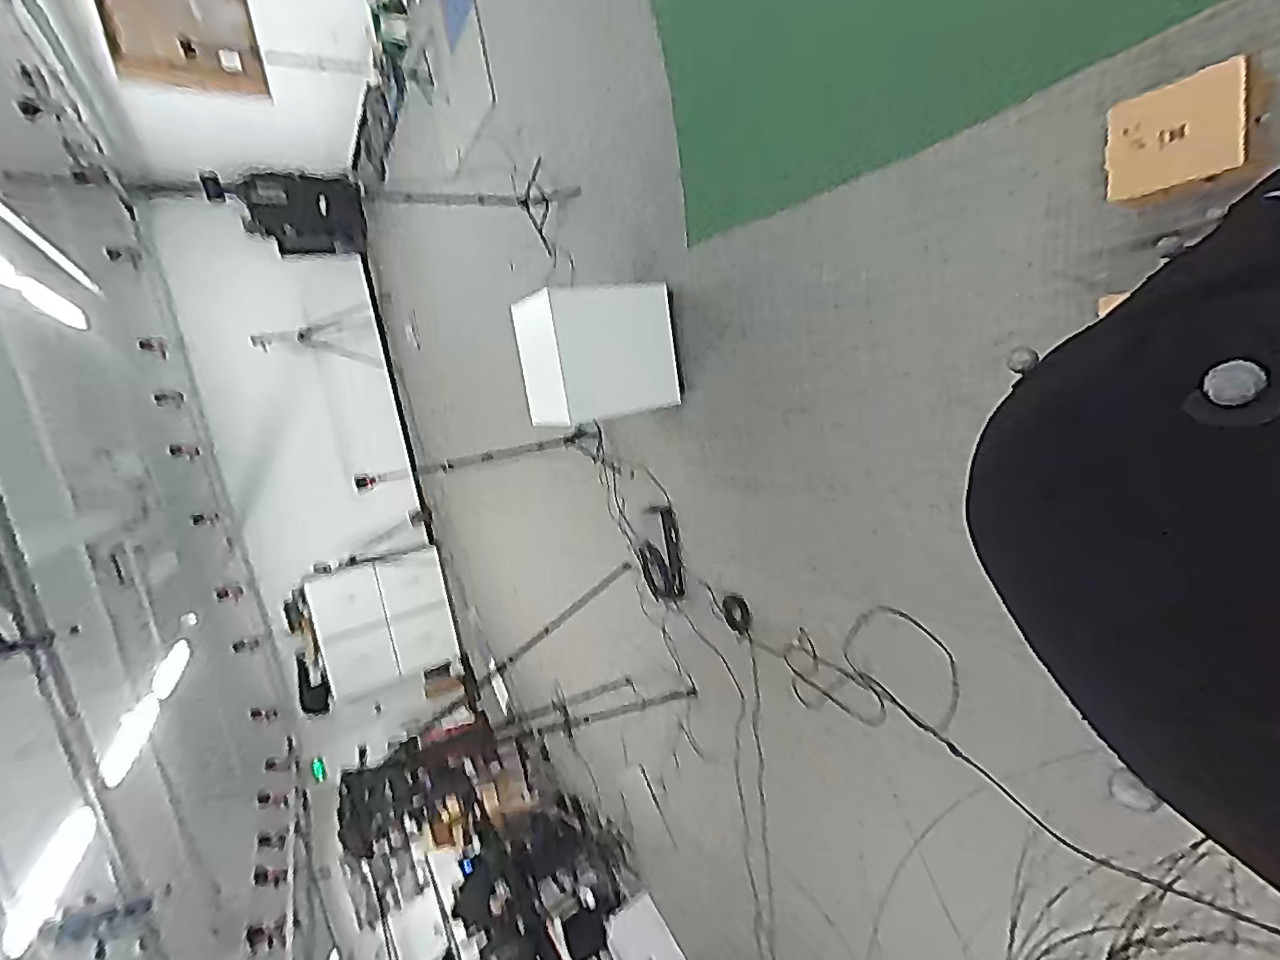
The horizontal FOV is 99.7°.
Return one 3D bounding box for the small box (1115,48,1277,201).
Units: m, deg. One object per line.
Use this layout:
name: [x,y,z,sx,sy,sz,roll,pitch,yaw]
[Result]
small box: [0.980,-0.611,0.955,0.179,0.176,0.168,5,107,57]
